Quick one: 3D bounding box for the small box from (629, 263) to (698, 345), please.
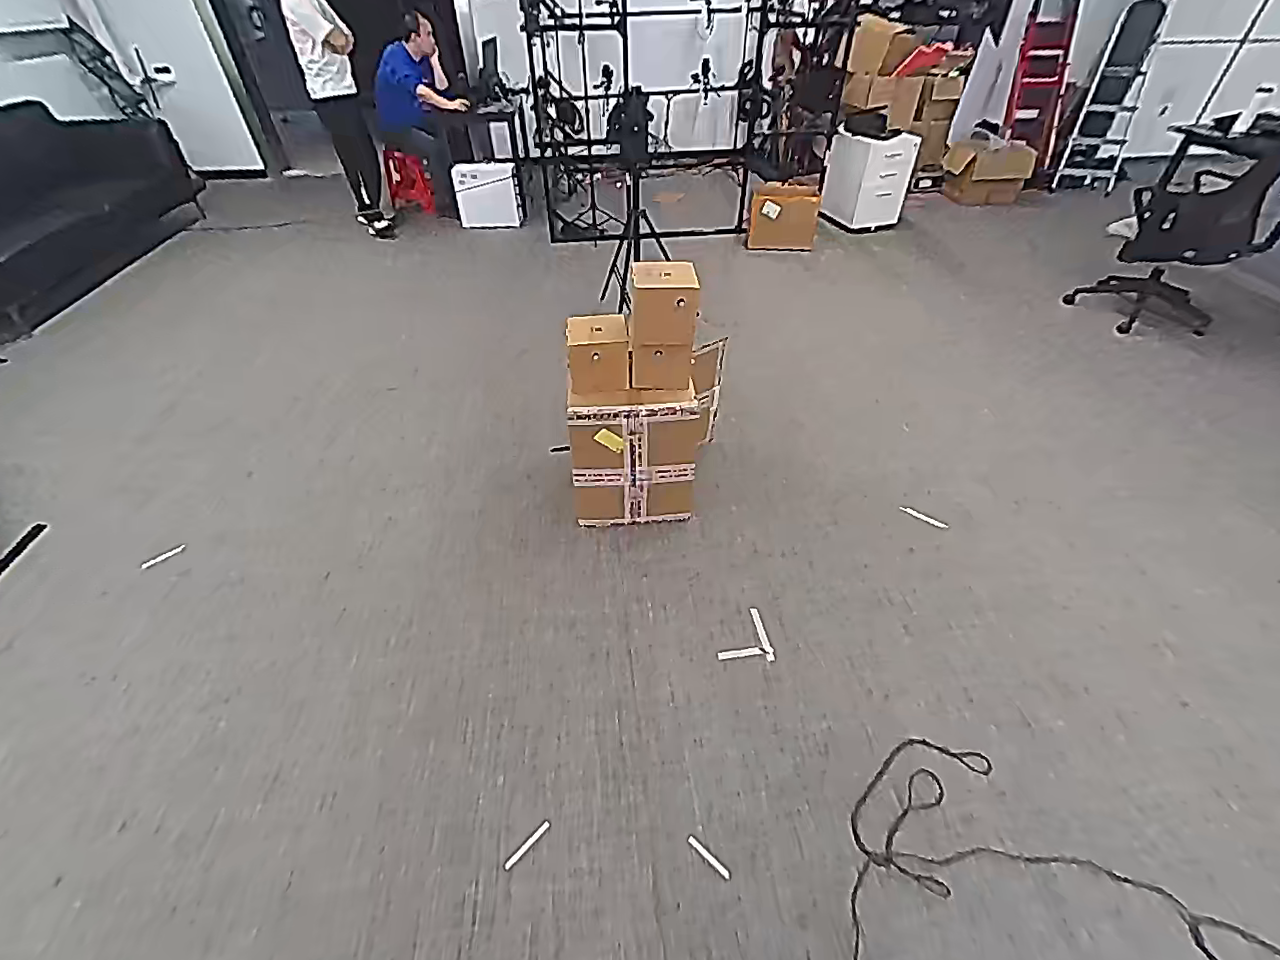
[{"bbox_3d":[0.060,-0.491,1.518,0.179,0.176,0.168,-2,44,-3],"label":"small box"}]

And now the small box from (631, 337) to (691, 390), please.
[{"bbox_3d":[0.061,-0.389,1.650,0.179,0.176,0.168,1,44,-1],"label":"small box"}]
